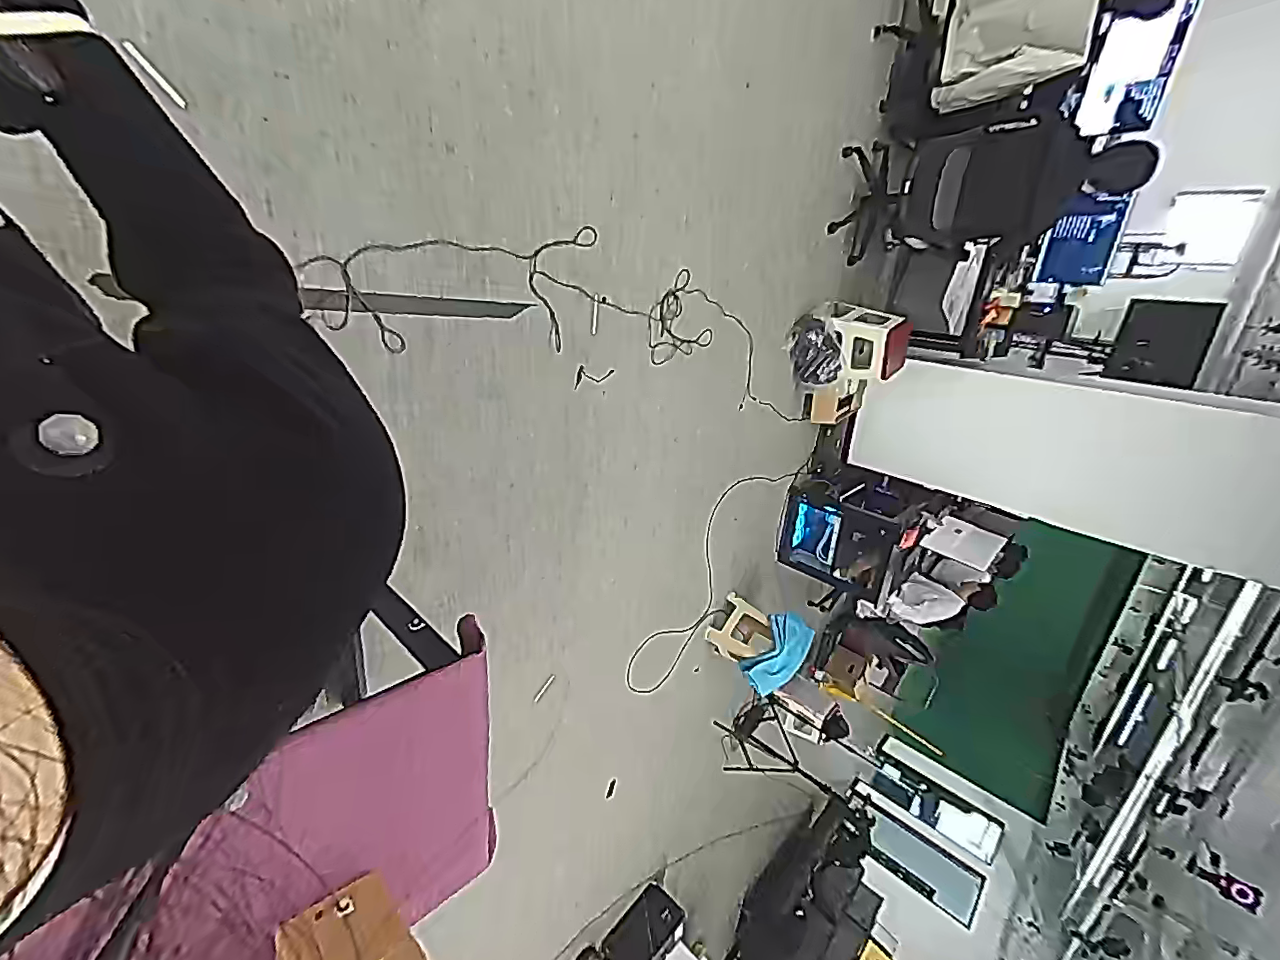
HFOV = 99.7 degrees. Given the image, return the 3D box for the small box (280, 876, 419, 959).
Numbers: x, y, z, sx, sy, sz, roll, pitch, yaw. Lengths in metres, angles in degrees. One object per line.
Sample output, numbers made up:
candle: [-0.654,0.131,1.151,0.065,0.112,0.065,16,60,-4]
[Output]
small box: [-0.508,0.857,0.943,0.168,0.176,0.179,-9,111,-49]
